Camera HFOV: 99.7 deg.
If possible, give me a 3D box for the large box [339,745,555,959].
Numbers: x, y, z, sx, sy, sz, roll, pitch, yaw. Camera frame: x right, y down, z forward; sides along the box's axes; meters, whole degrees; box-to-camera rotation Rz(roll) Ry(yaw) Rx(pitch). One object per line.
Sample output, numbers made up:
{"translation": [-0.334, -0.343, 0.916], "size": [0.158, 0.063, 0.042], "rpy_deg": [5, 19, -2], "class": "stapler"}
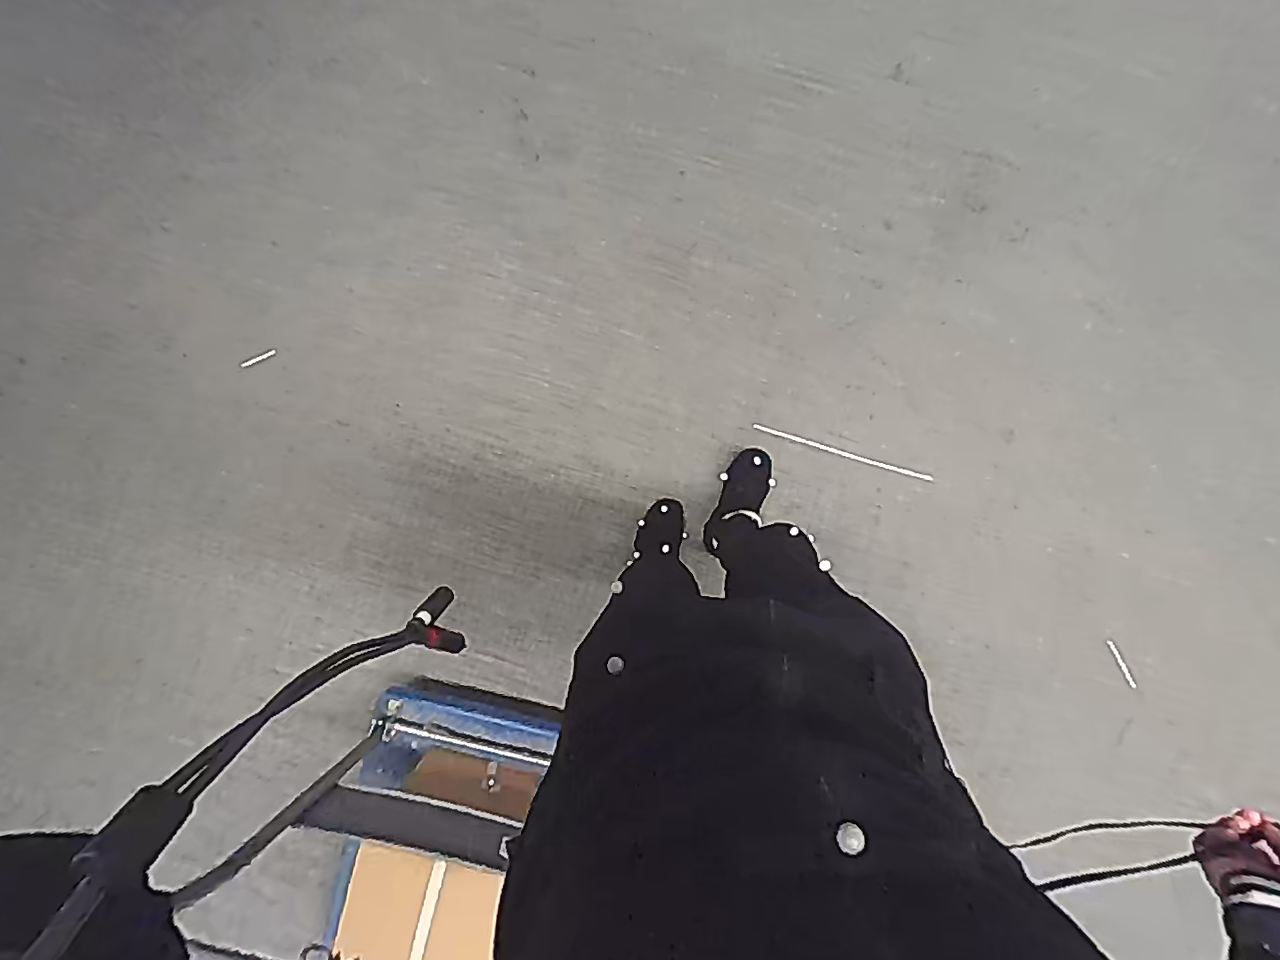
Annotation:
{"translation": [-0.393, 0.858, 1.150], "size": [0.320, 0.320, 0.408], "rpy_deg": [15, 92, 1], "class": "large box"}
